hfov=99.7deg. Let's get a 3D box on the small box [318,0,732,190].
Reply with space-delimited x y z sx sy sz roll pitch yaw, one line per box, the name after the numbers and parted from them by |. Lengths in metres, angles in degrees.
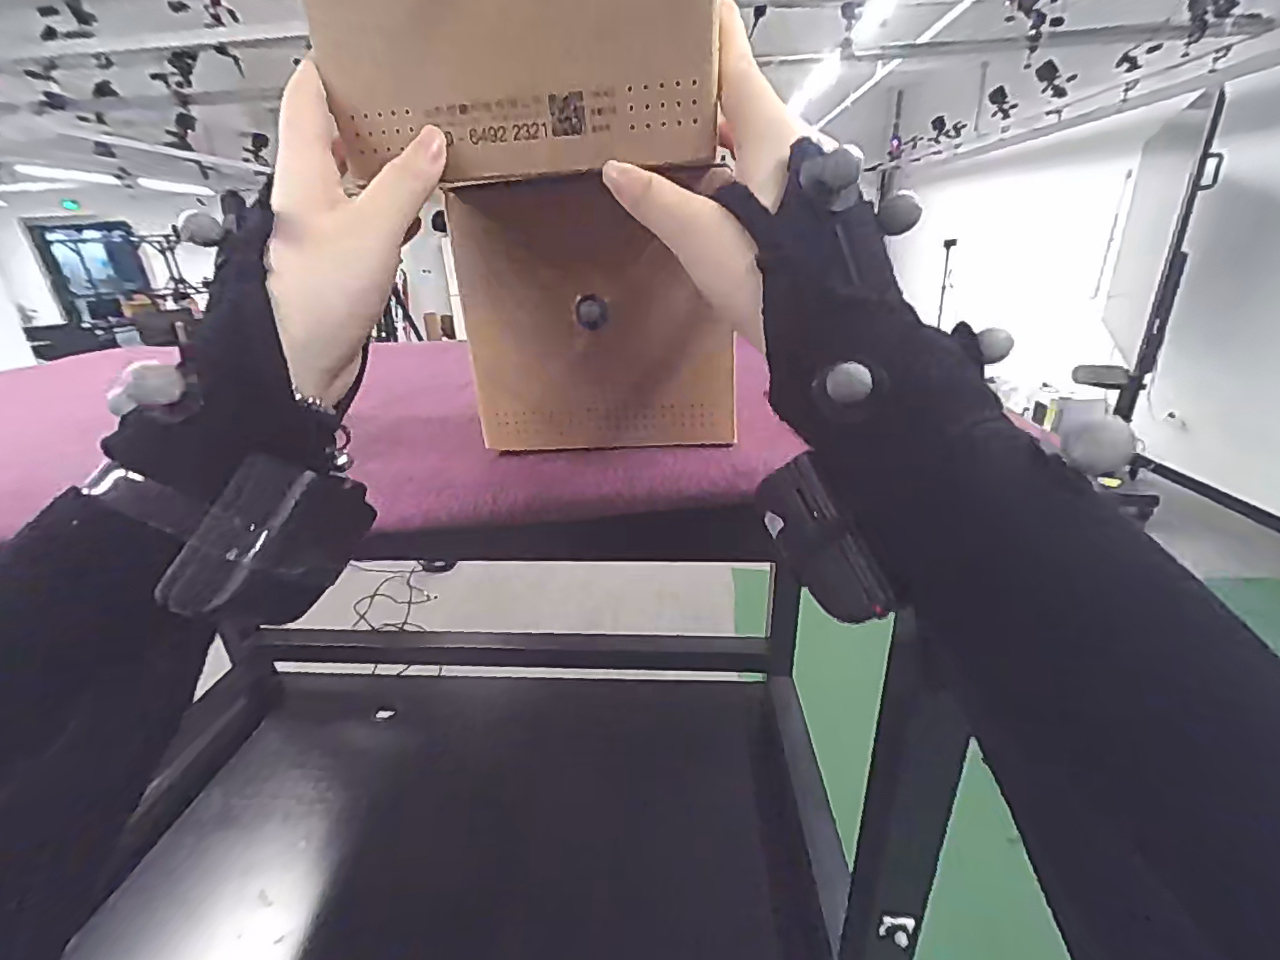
-0.040 -0.240 0.260 0.168 0.176 0.179 1 31 8 | small box
